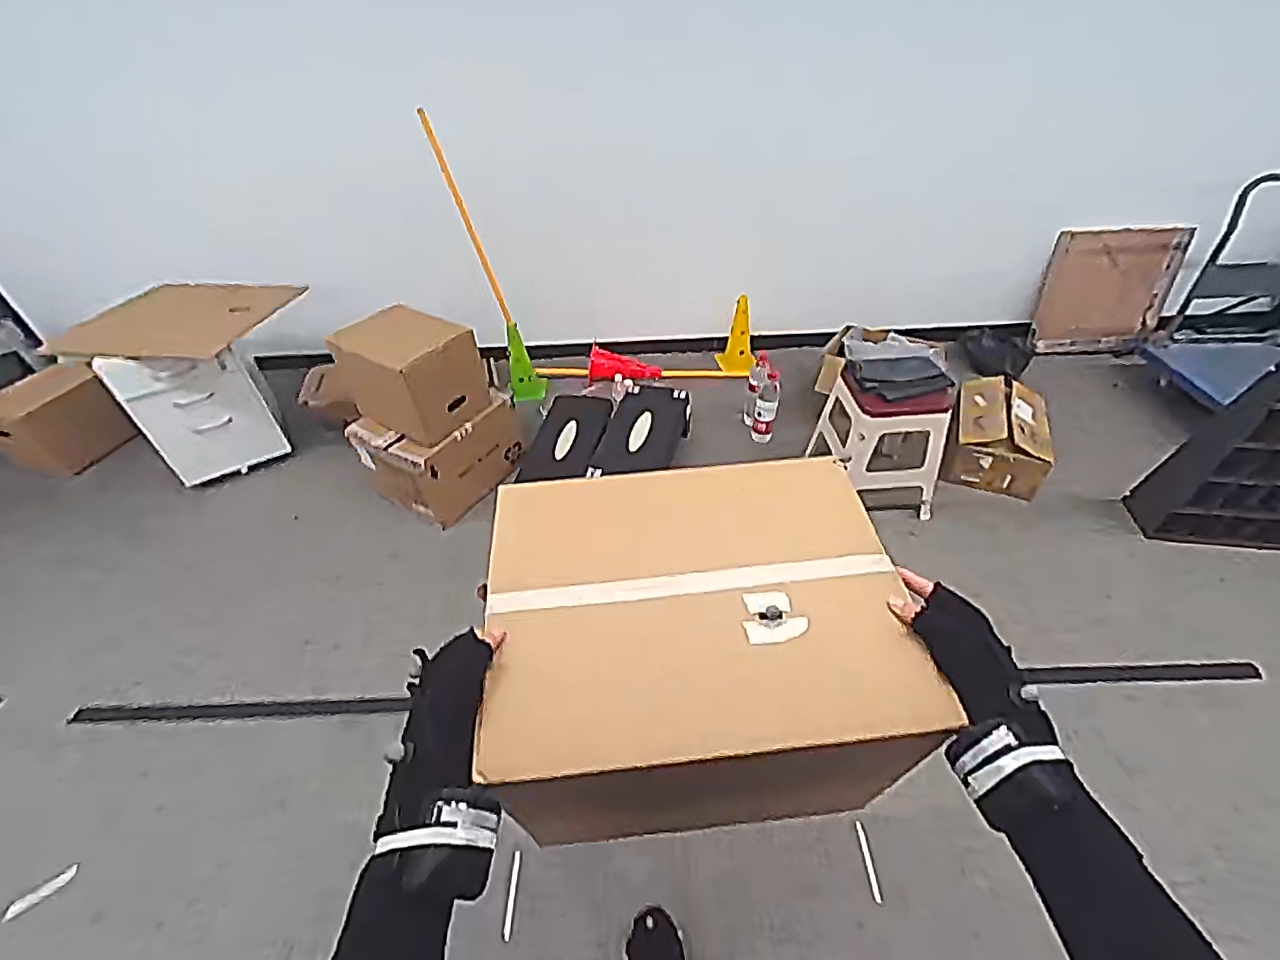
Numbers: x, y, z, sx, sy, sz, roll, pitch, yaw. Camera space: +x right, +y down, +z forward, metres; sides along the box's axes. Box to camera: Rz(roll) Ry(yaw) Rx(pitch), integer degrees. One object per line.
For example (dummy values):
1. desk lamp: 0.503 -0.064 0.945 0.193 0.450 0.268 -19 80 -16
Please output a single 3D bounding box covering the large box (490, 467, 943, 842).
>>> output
1. large box: 0.055 0.214 0.666 0.408 0.320 0.320 -5 49 -3
